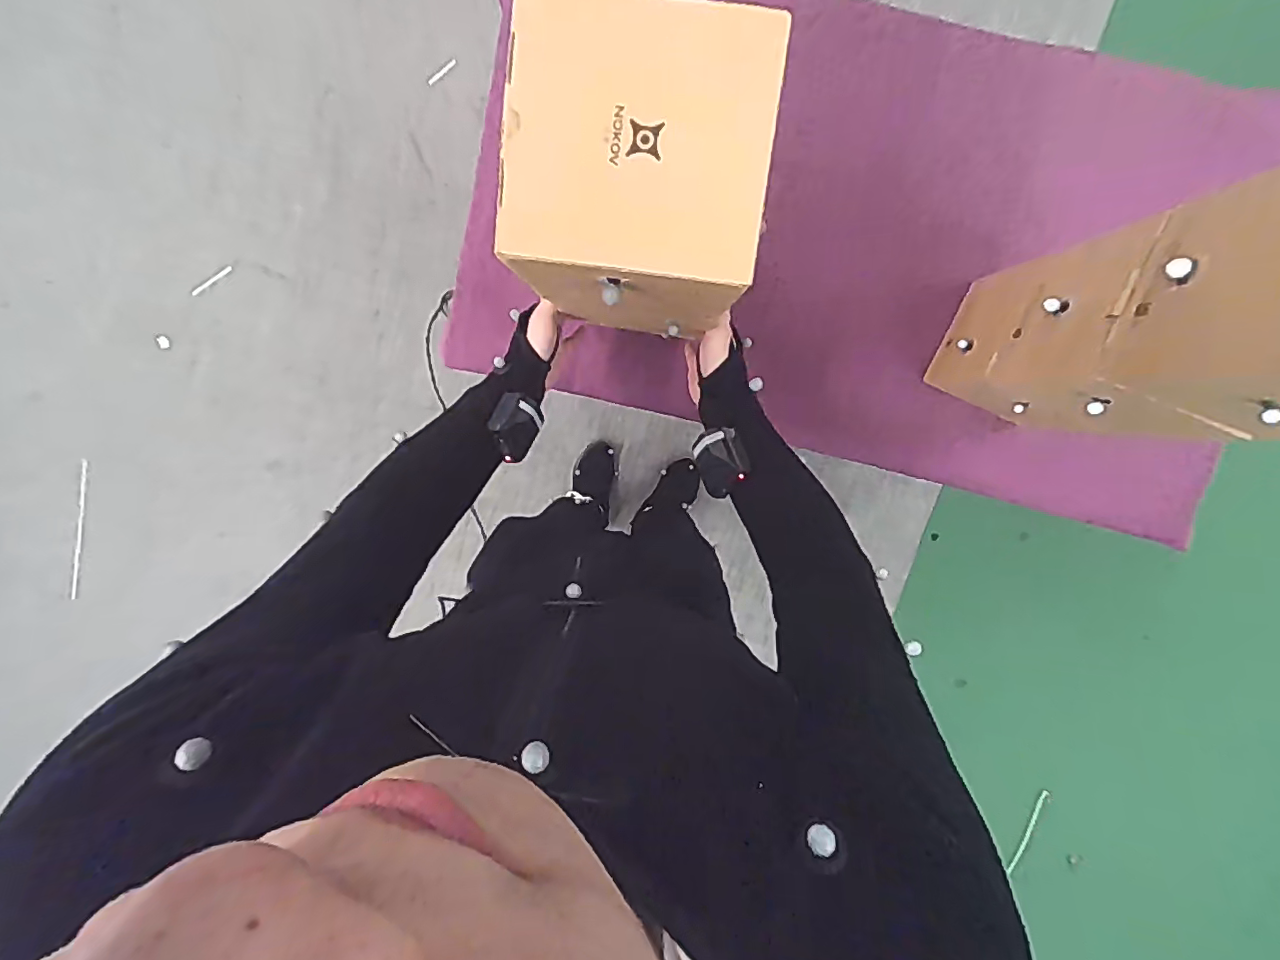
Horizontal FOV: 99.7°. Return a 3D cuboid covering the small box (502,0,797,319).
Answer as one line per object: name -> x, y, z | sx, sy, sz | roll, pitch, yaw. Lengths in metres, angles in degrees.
small box -> 0.004, -0.226, 0.428 | 0.179, 0.176, 0.168 | 7, 100, 0

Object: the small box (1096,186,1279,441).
small box -> 0.537, -0.128, 0.429 | 0.179, 0.176, 0.168 | 20, 99, -1

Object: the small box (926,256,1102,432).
small box -> 0.544, -0.178, 0.753 | 0.179, 0.176, 0.168 | 25, 99, -3

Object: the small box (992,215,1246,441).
small box -> 0.539, -0.153, 0.592 | 0.179, 0.176, 0.168 | 22, 99, -1

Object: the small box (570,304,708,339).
small box -> 0.012, -0.295, 0.747 | 0.179, 0.176, 0.168 | 9, 99, 0
